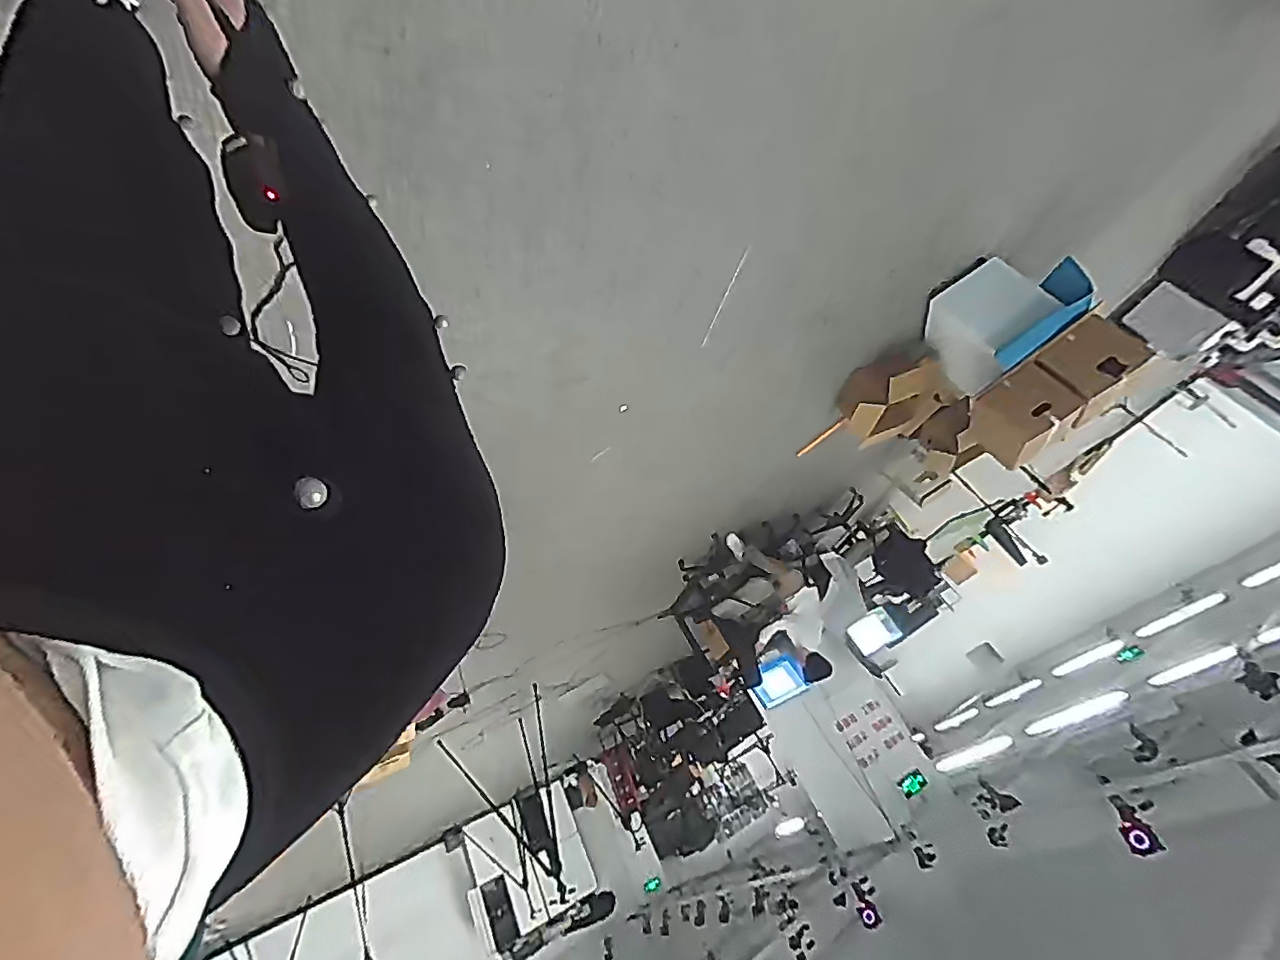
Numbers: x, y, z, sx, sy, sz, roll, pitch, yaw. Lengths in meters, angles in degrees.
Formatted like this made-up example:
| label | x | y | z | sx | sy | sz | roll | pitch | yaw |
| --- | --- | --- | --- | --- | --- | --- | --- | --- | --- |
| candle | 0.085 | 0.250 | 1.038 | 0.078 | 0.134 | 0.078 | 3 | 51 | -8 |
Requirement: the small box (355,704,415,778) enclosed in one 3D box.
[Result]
| label | x | y | z | sx | sy | sz | roll | pitch | yaw |
| --- | --- | --- | --- | --- | --- | --- | --- | --- | --- |
| small box | -0.920 | 0.936 | 1.953 | 0.168 | 0.176 | 0.179 | -12 | 146 | -29 |

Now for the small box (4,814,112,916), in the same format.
| label | x | y | z | sx | sy | sz | roll | pitch | yaw |
| --- | --- | --- | --- | --- | --- | --- | --- | --- | --- |
| small box | -1.626 | 1.075 | 1.520 | 0.168 | 0.176 | 0.179 | -11 | 144 | -31 |
